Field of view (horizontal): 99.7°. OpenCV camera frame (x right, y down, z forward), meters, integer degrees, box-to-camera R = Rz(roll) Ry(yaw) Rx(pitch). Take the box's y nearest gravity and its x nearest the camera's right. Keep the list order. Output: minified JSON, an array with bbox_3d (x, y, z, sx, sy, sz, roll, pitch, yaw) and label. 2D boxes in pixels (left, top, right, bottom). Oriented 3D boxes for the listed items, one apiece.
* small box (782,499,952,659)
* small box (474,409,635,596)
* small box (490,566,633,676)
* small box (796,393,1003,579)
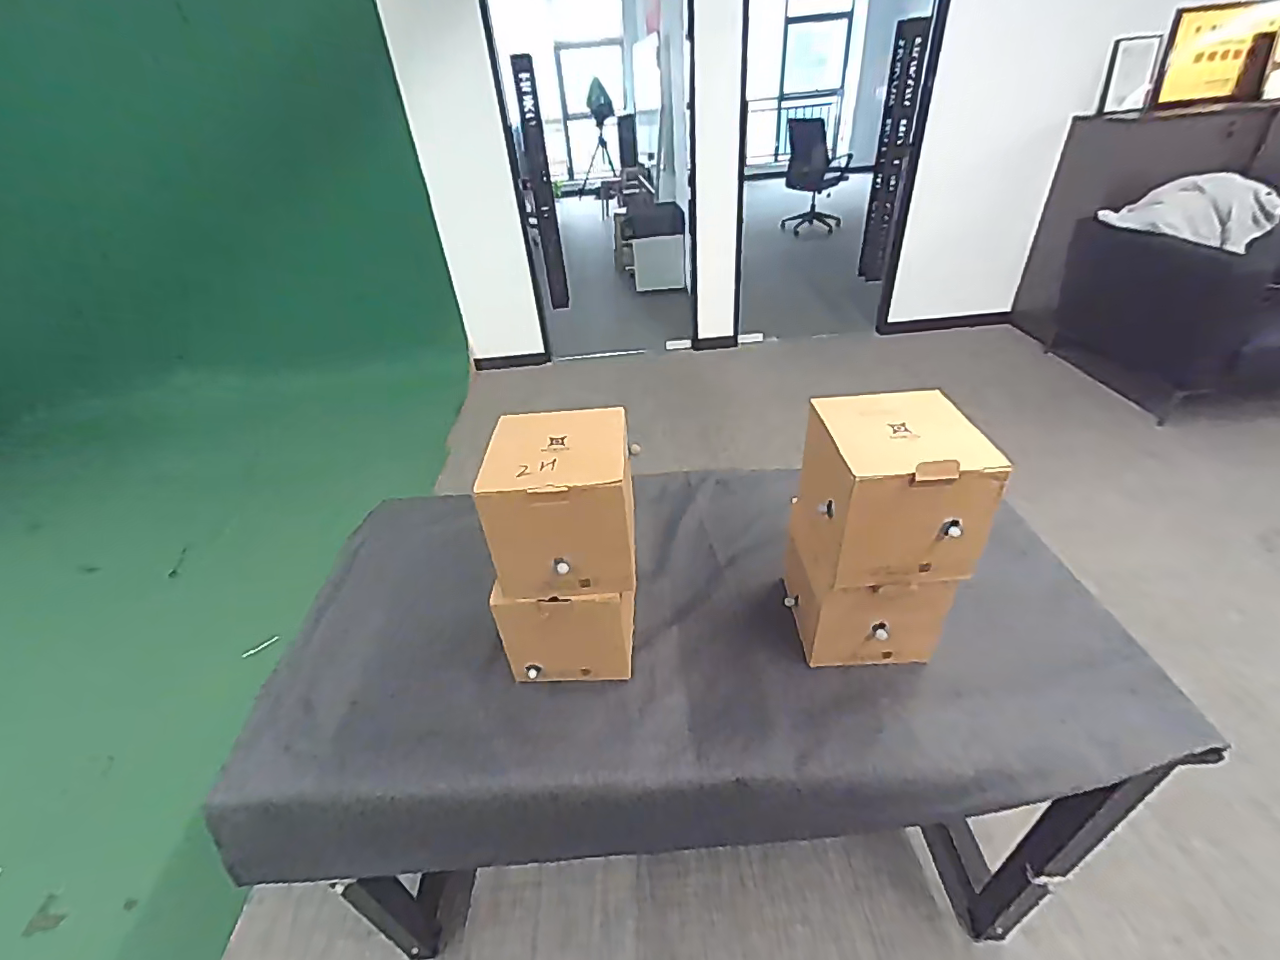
[{"bbox_3d":[0.306,0.140,0.772,0.168,0.176,0.179,-3,36,2],"label":"small box"},{"bbox_3d":[-0.095,0.026,0.697,0.168,0.176,0.179,-5,35,2],"label":"small box"},{"bbox_3d":[-0.099,0.166,0.785,0.168,0.176,0.179,-2,35,4],"label":"small box"},{"bbox_3d":[0.301,0.010,0.673,0.168,0.176,0.179,-3,35,1],"label":"small box"}]
